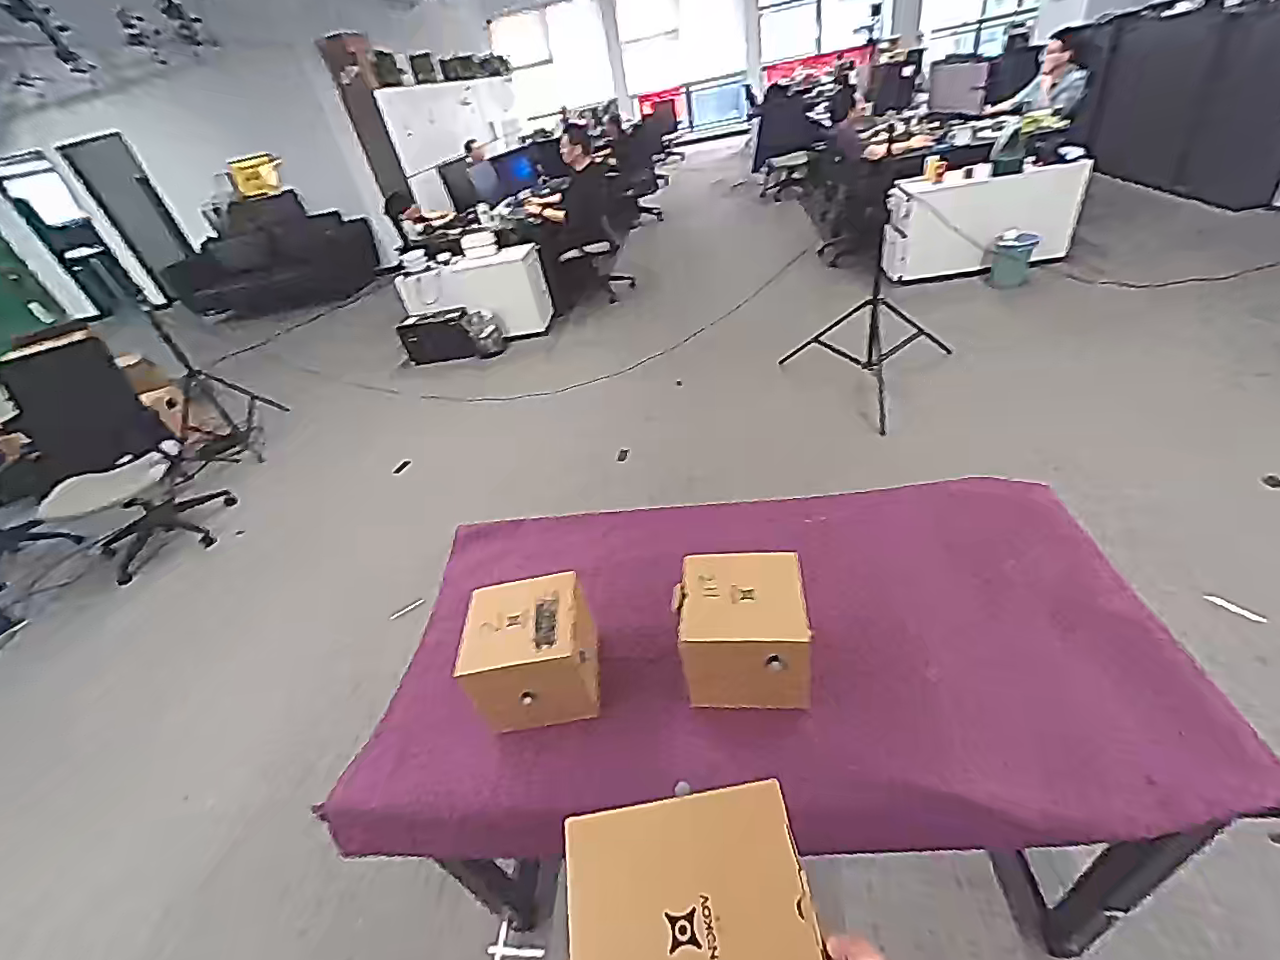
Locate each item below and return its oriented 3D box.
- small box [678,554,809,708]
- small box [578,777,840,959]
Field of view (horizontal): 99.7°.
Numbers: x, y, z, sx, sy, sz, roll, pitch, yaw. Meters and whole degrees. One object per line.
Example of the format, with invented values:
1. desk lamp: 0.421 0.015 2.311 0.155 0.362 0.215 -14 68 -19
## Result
1. small box: 0.161 0.234 0.838 0.179 0.176 0.168 -5 36 12
2. small box: 0.058 0.363 0.436 0.179 0.176 0.168 -12 48 2
